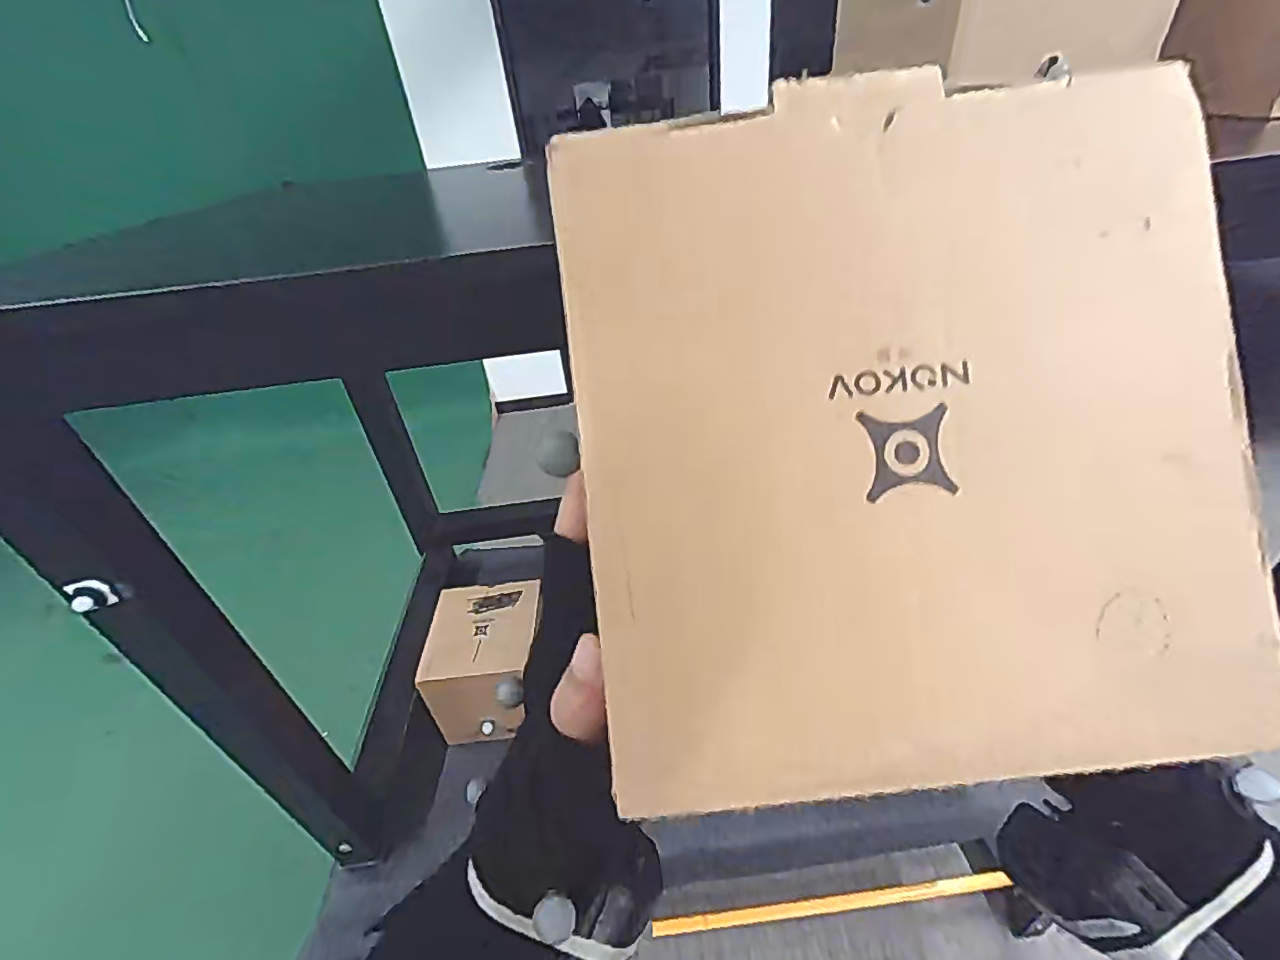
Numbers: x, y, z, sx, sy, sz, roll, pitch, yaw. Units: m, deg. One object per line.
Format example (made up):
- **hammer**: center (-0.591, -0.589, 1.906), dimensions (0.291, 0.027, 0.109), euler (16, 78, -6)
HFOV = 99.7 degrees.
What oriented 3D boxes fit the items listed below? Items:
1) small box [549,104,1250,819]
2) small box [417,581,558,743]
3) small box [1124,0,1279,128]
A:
- **small box**: center (0.066, -0.003, 0.222), dimensions (0.168, 0.179, 0.176), euler (-6, -3, 0)
- **small box**: center (-0.229, 0.289, 0.866), dimensions (0.168, 0.176, 0.179), euler (-7, 36, 0)
- **small box**: center (0.519, -0.364, 0.394), dimensions (0.168, 0.176, 0.179), euler (-1, 35, 8)
